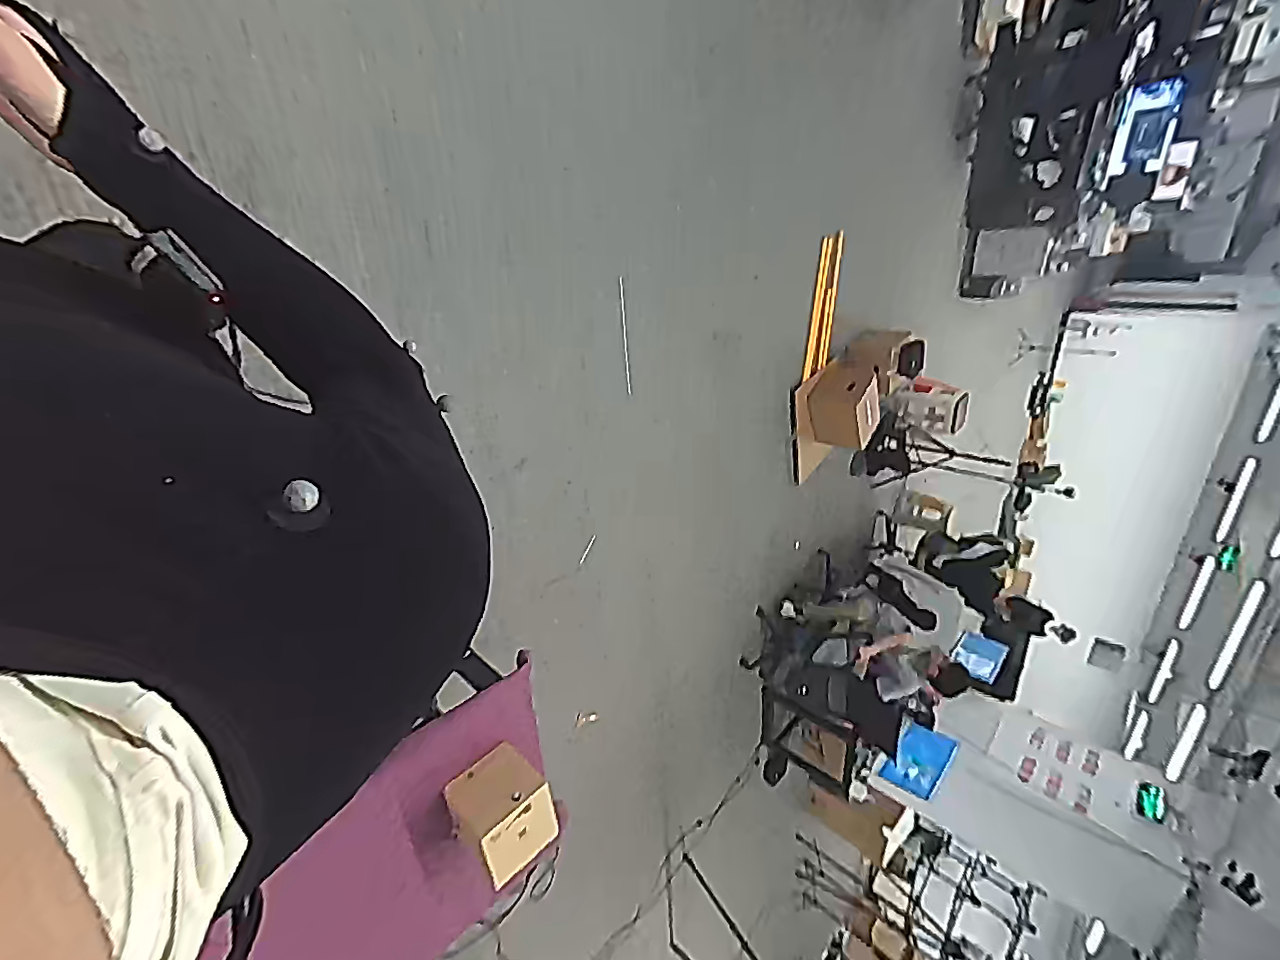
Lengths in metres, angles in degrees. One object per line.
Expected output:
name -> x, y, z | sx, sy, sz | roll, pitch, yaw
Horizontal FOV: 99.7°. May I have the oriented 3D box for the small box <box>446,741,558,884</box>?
small box -> -0.307, 0.730, 1.206 | 0.168, 0.176, 0.179 | -27, 123, -39
